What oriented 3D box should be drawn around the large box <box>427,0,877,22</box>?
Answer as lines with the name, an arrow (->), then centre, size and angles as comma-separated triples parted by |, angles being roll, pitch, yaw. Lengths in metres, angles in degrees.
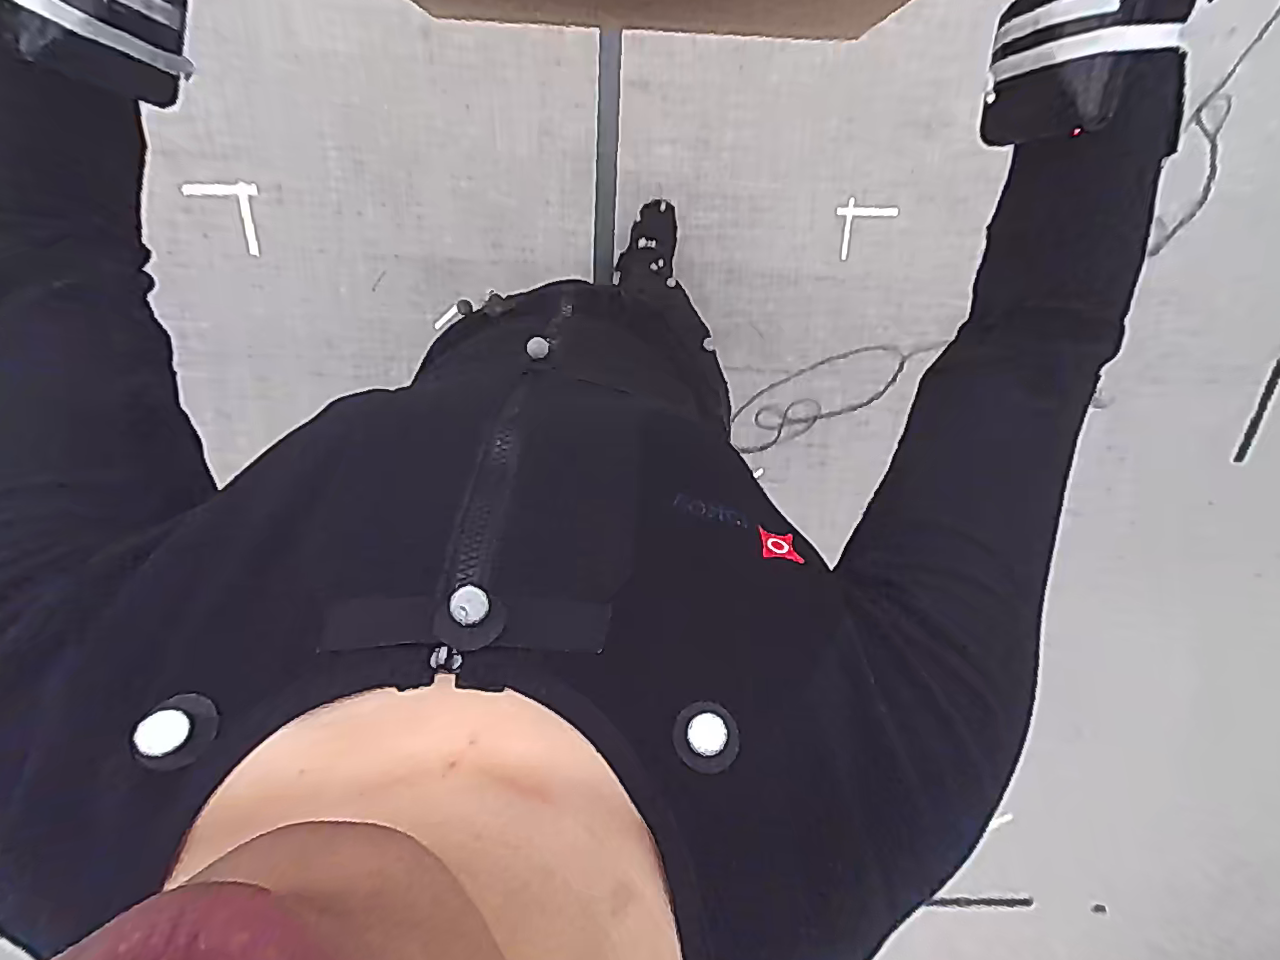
large box -> 0.007, -0.496, 0.306 | 0.408, 0.320, 0.320 | 2, 120, 0
